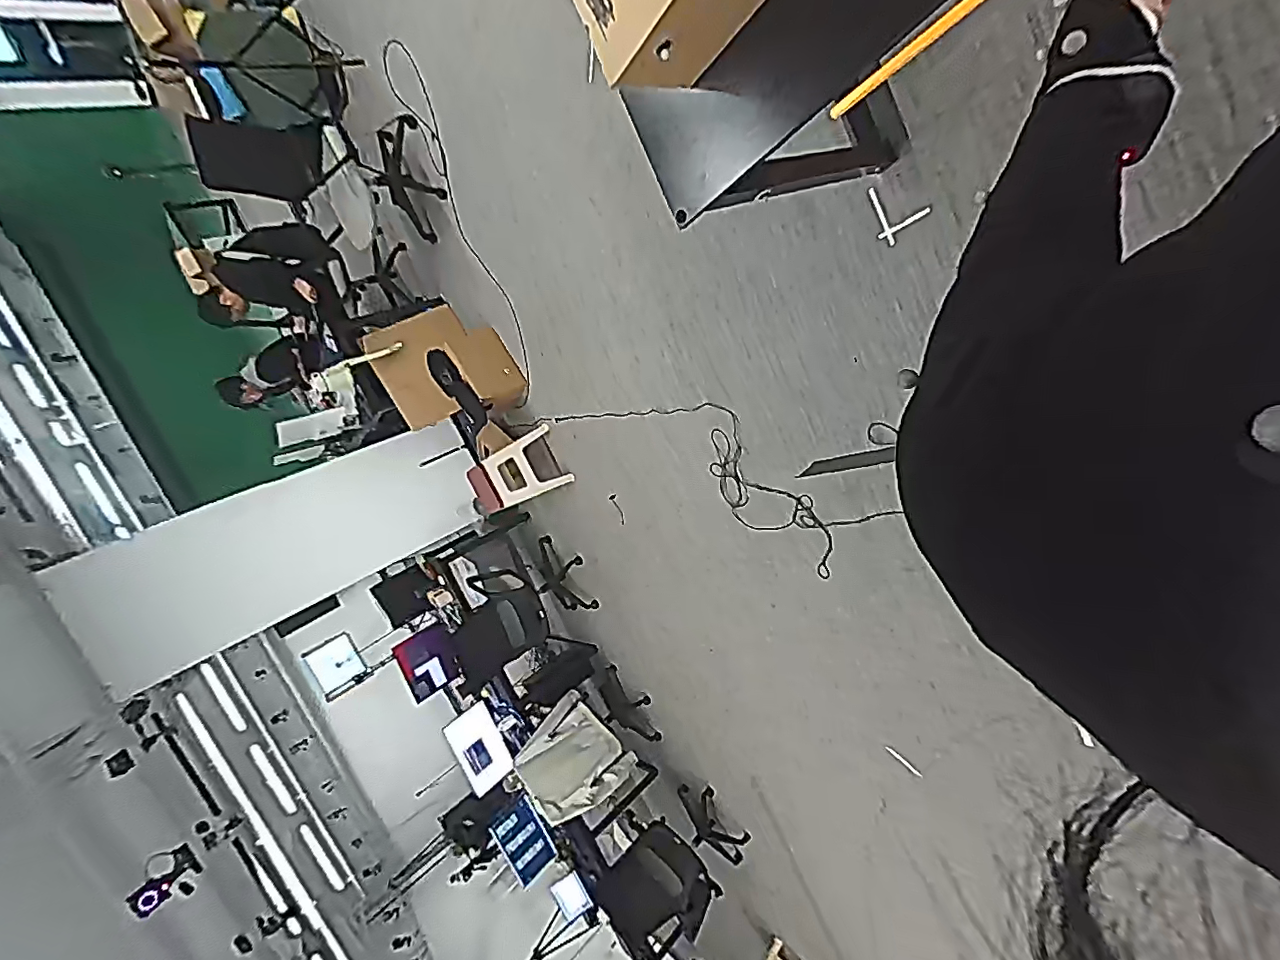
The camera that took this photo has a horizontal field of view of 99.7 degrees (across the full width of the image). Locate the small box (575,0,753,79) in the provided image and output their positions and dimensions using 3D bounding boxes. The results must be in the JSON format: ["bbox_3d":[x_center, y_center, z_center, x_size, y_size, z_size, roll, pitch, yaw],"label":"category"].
[{"bbox_3d":[0.030,-0.670,0.712,0.179,0.176,0.168,-14,104,55],"label":"small box"}]
